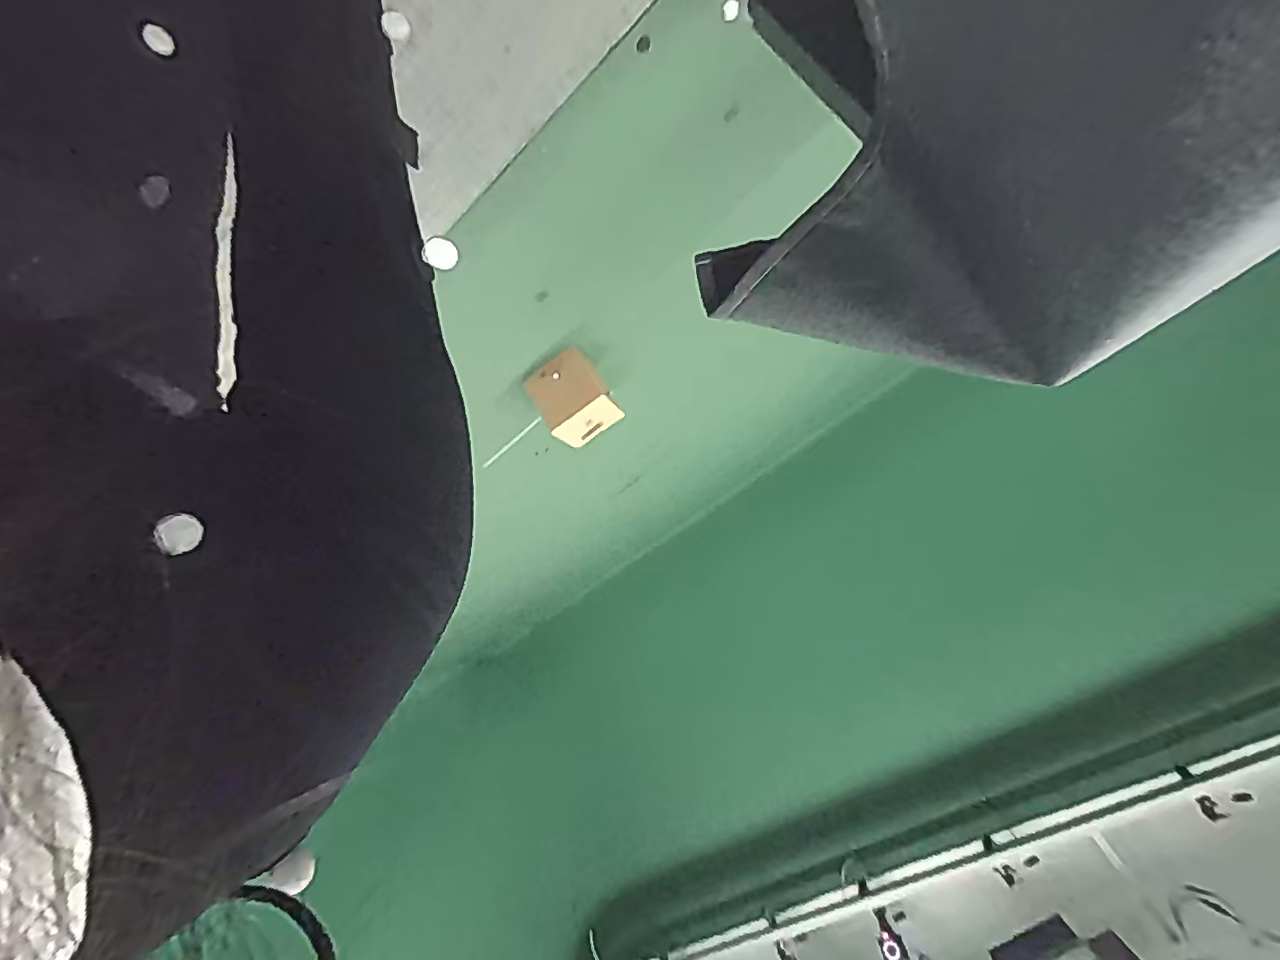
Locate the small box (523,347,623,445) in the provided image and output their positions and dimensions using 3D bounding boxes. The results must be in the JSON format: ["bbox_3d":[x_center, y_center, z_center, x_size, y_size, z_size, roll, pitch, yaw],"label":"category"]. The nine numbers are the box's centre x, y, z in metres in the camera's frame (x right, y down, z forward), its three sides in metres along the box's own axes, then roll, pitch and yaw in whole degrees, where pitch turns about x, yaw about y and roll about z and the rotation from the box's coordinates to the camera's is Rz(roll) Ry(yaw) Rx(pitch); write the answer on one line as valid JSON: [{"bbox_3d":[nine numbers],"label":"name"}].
[{"bbox_3d":[-0.175,-0.220,1.427,0.168,0.176,0.179,-35,162,8],"label":"small box"}]
